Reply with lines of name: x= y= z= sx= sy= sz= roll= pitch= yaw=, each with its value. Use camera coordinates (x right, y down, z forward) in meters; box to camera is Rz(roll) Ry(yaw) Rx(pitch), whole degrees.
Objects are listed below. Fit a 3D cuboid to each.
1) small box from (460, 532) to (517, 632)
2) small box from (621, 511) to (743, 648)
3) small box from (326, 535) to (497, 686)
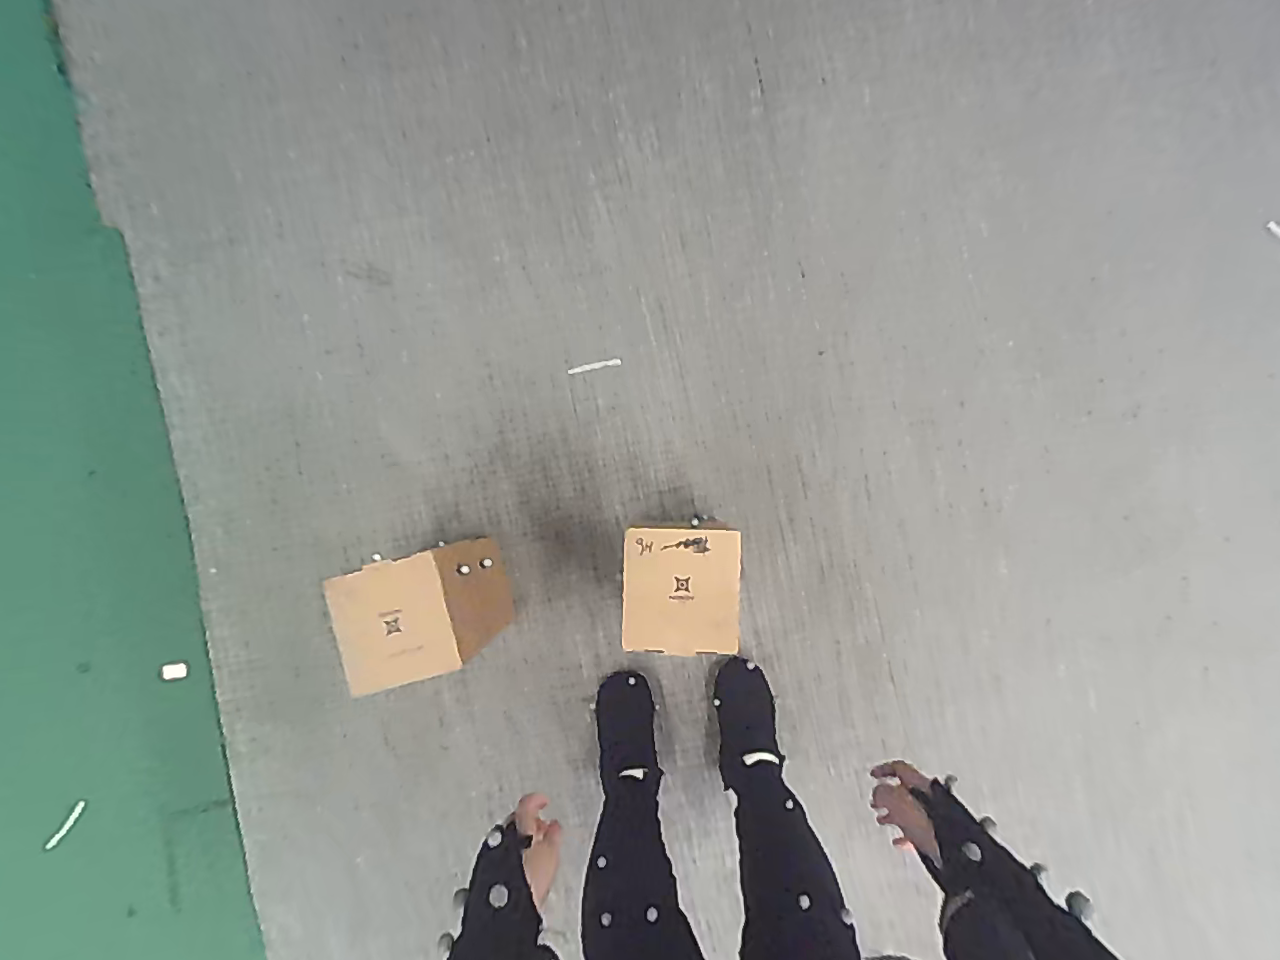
small box: x=-0.343 y=0.197 z=0.998 sx=0.168 sy=0.176 sz=0.179 roll=-16 pitch=89 yaw=0
small box: x=0.061 y=0.143 z=0.832 sx=0.168 sy=0.176 sz=0.179 roll=2 pitch=90 yaw=1
small box: x=-0.340 y=0.188 z=0.836 sx=0.168 sy=0.176 sz=0.179 roll=-16 pitch=89 yaw=2
